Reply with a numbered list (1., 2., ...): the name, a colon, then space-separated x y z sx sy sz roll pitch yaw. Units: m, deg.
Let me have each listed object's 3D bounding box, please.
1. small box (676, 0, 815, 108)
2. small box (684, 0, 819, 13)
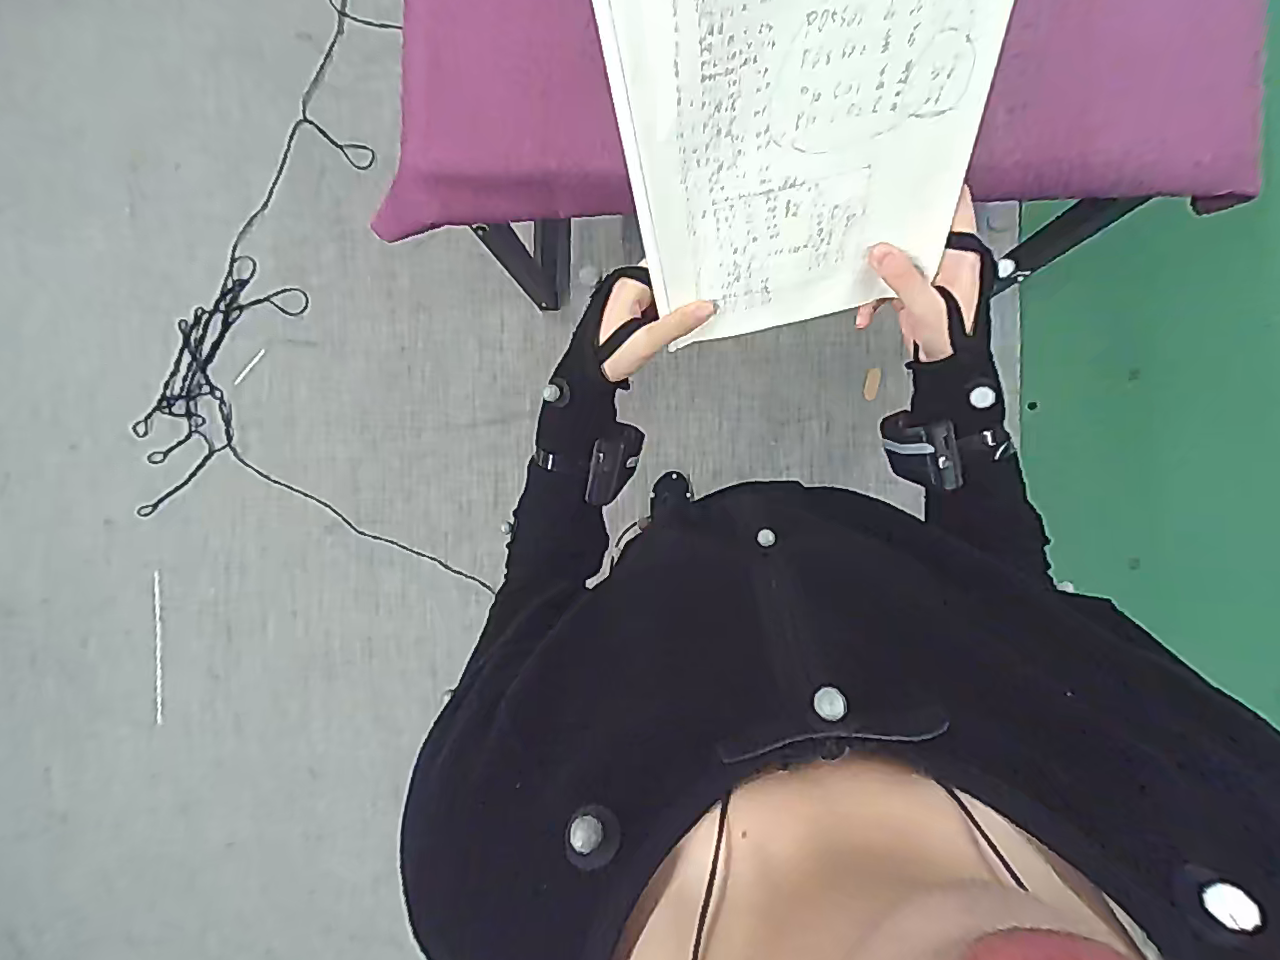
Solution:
1. small box: 0.136 -0.629 0.717 0.168 0.176 0.179 2 90 5
2. small box: 0.121 -0.625 0.552 0.168 0.176 0.179 2 88 5
